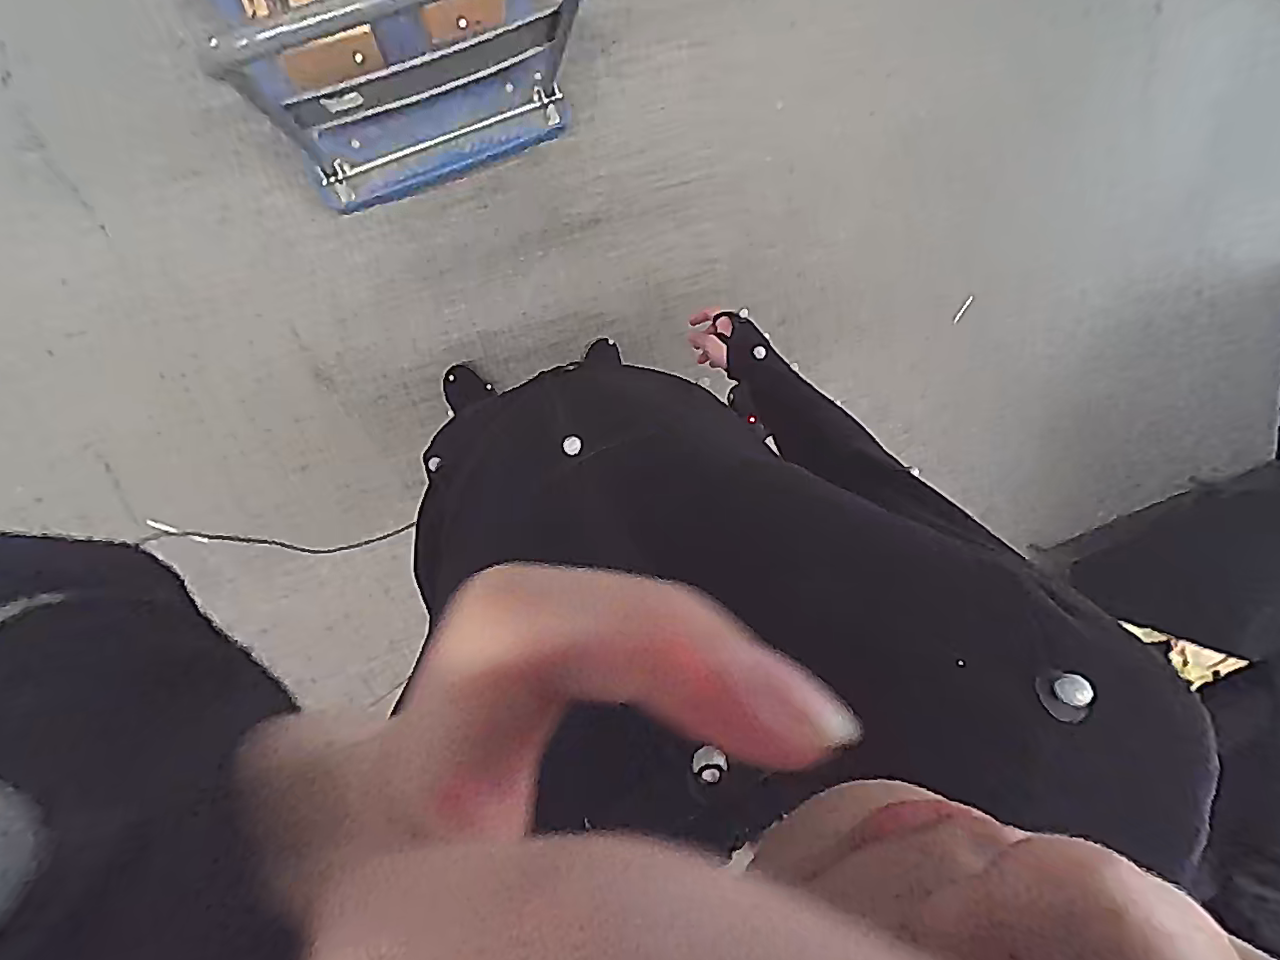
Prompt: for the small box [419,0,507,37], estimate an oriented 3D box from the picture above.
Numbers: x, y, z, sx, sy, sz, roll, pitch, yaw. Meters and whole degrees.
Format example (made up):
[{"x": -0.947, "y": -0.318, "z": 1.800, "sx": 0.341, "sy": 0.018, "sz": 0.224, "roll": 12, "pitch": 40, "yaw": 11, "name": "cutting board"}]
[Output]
[{"x": -0.362, "y": -1.001, "z": 1.029, "sx": 0.168, "sy": 0.176, "sz": 0.179, "roll": -24, "pitch": 110, "yaw": -7, "name": "small box"}]
